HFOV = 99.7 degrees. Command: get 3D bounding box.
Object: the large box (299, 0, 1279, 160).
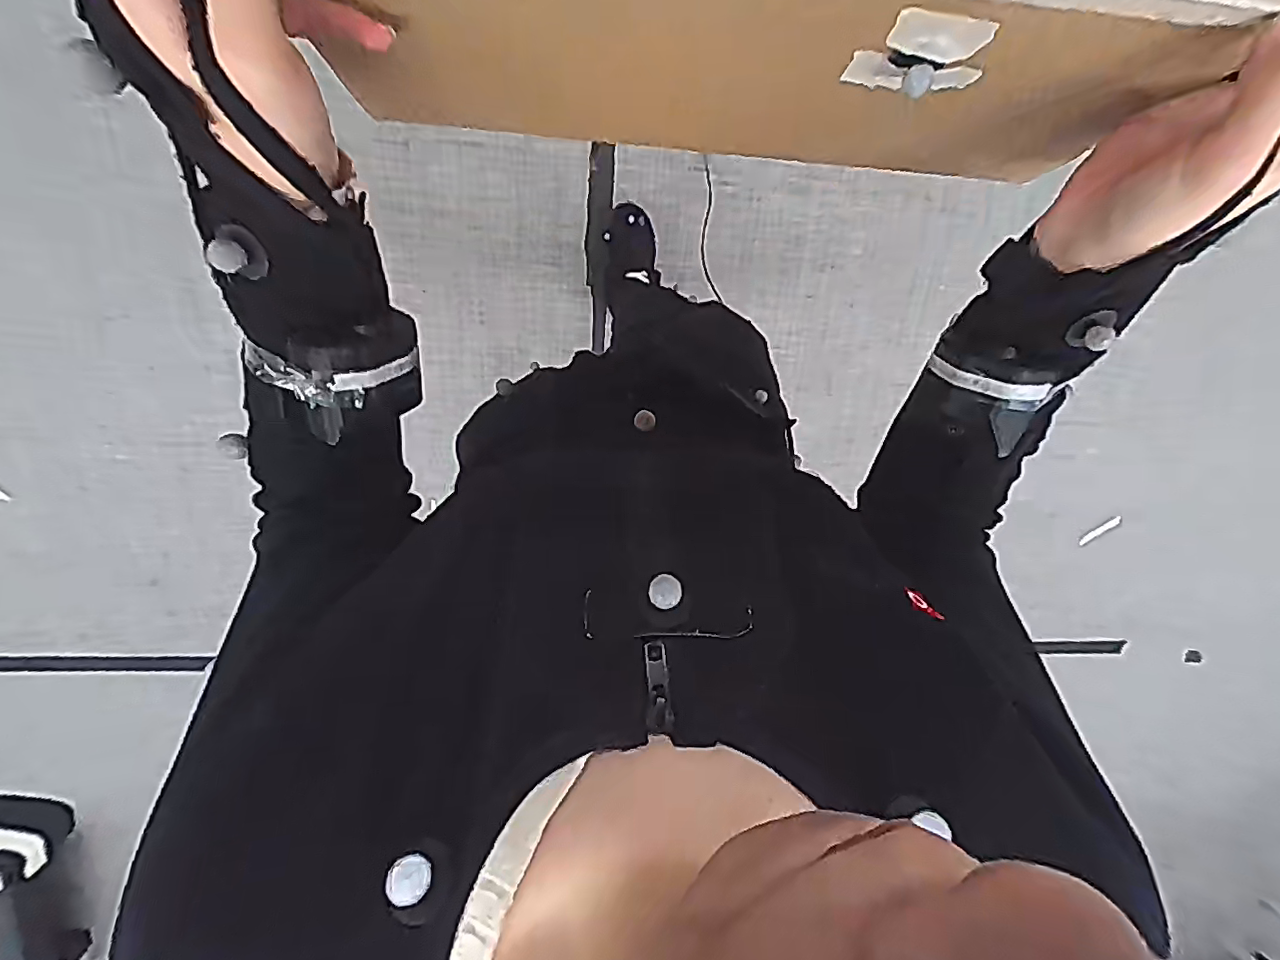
[{"bbox_3d":[0.061,-0.342,0.163,0.408,0.320,0.320,2,98,-5],"label":"large box"}]
